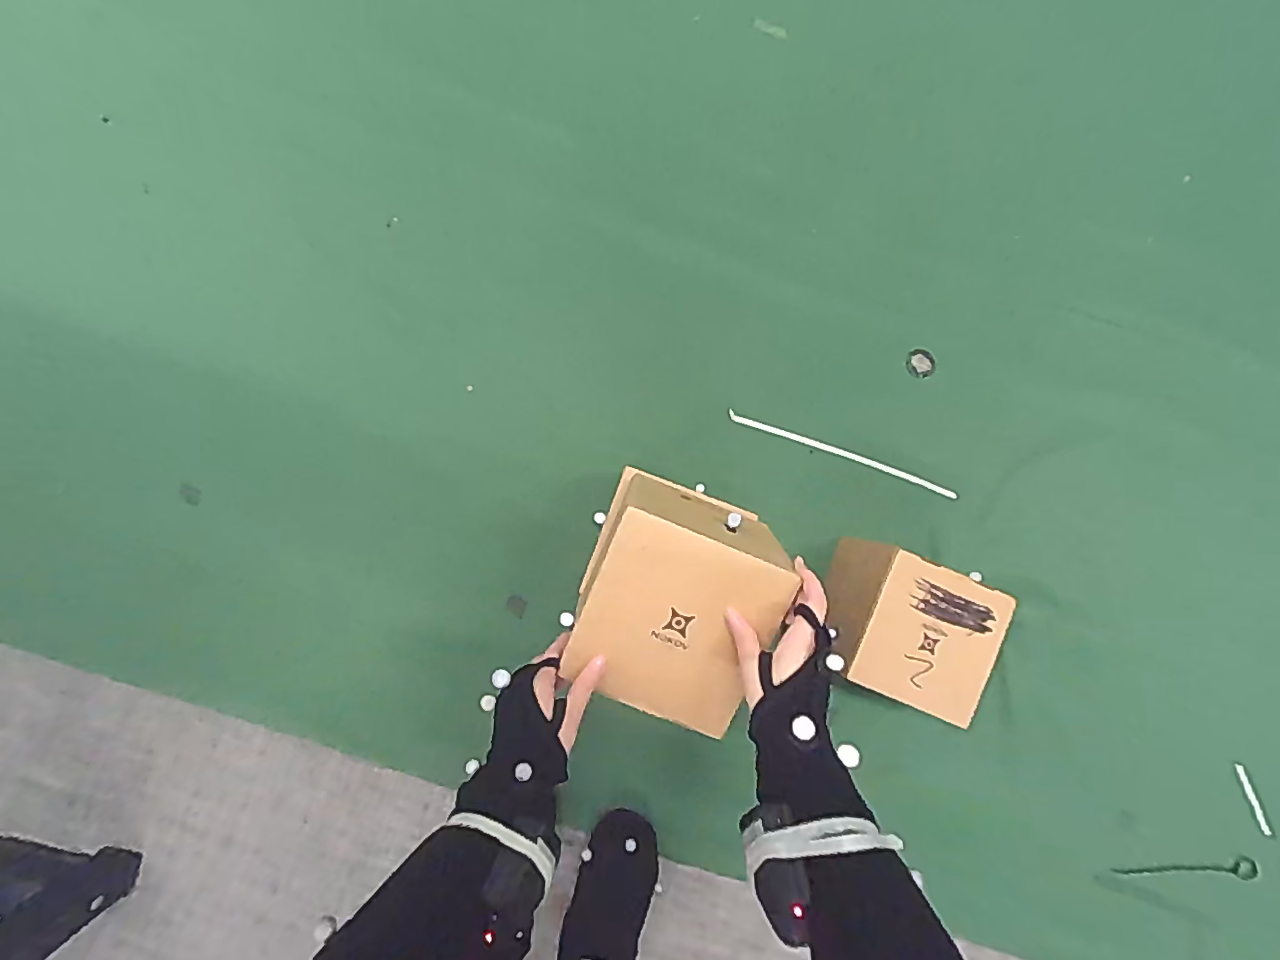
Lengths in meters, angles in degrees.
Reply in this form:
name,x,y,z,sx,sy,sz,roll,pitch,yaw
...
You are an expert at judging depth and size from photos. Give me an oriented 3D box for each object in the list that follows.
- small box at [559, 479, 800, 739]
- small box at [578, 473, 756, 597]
name,x,y,z,sx,sy,sz,roll,pitch,yaw
small box,0.034,0.115,0.555,0.168,0.176,0.179,22,102,-2
small box,0.032,0.098,0.734,0.179,0.176,0.168,21,87,0
